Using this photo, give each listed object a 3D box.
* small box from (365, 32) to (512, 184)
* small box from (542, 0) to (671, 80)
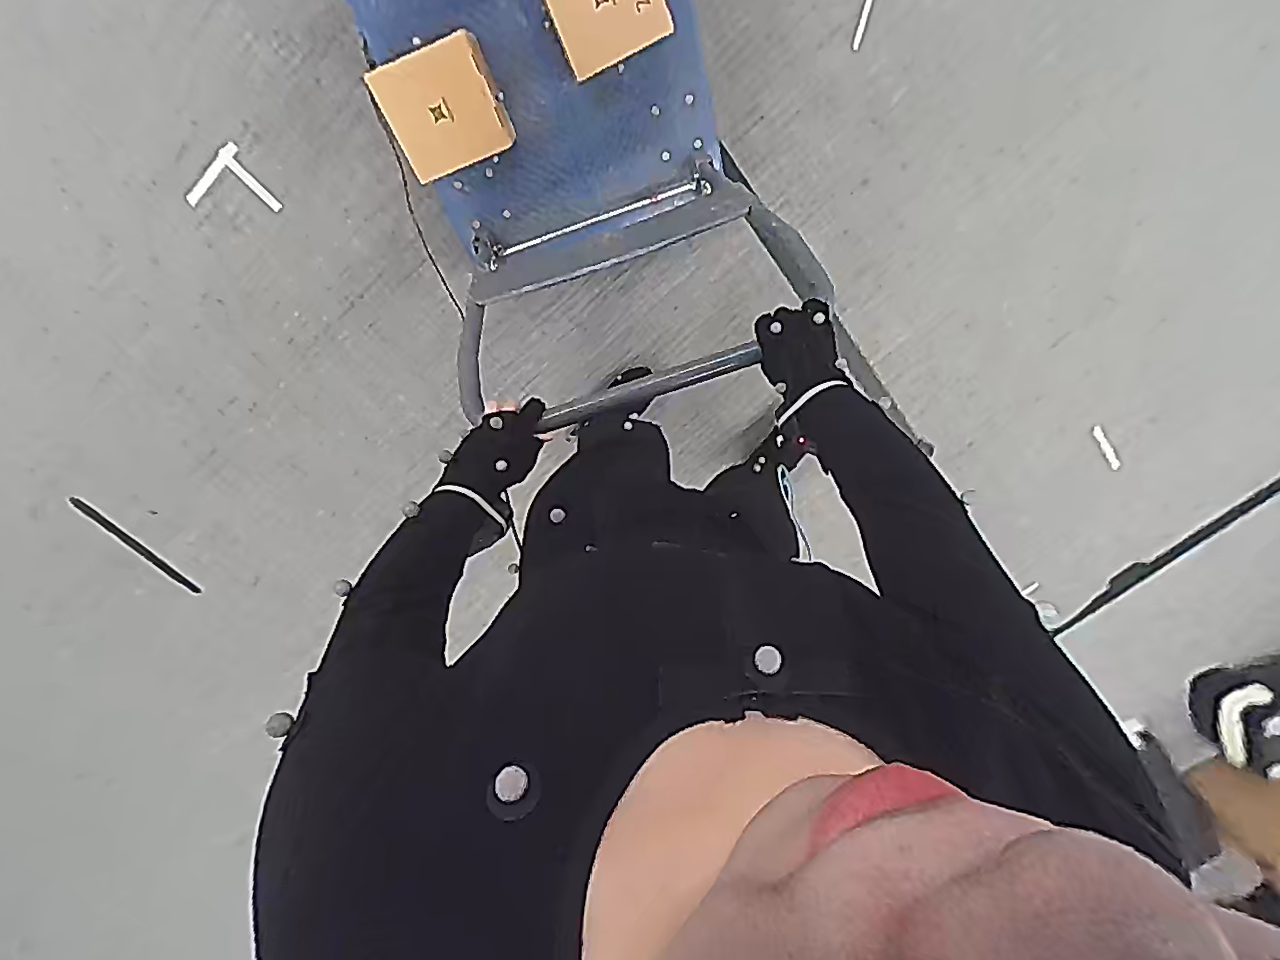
[{"bbox_3d":[-0.339,-0.649,0.952,0.179,0.176,0.168,-21,127,5],"label":"small box"},{"bbox_3d":[-0.066,-0.789,0.890,0.179,0.176,0.168,-23,127,8],"label":"small box"}]
